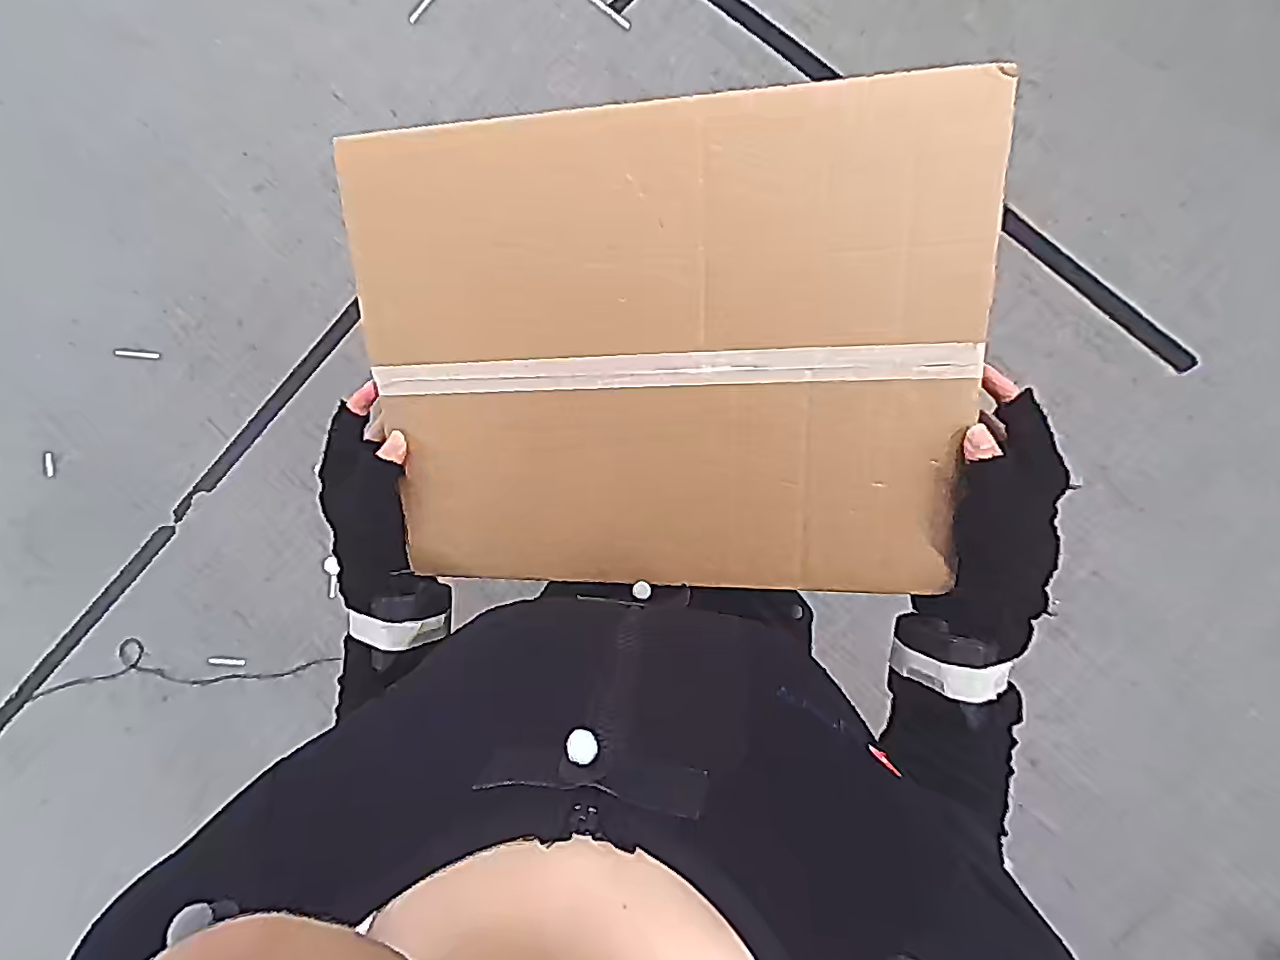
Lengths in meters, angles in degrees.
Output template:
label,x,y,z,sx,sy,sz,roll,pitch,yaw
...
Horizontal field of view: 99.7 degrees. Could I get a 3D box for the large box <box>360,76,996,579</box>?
label,x,y,z,sx,sy,sz,roll,pitch,yaw
large box,0.033,-0.116,0.513,0.408,0.320,0.320,1,107,10
